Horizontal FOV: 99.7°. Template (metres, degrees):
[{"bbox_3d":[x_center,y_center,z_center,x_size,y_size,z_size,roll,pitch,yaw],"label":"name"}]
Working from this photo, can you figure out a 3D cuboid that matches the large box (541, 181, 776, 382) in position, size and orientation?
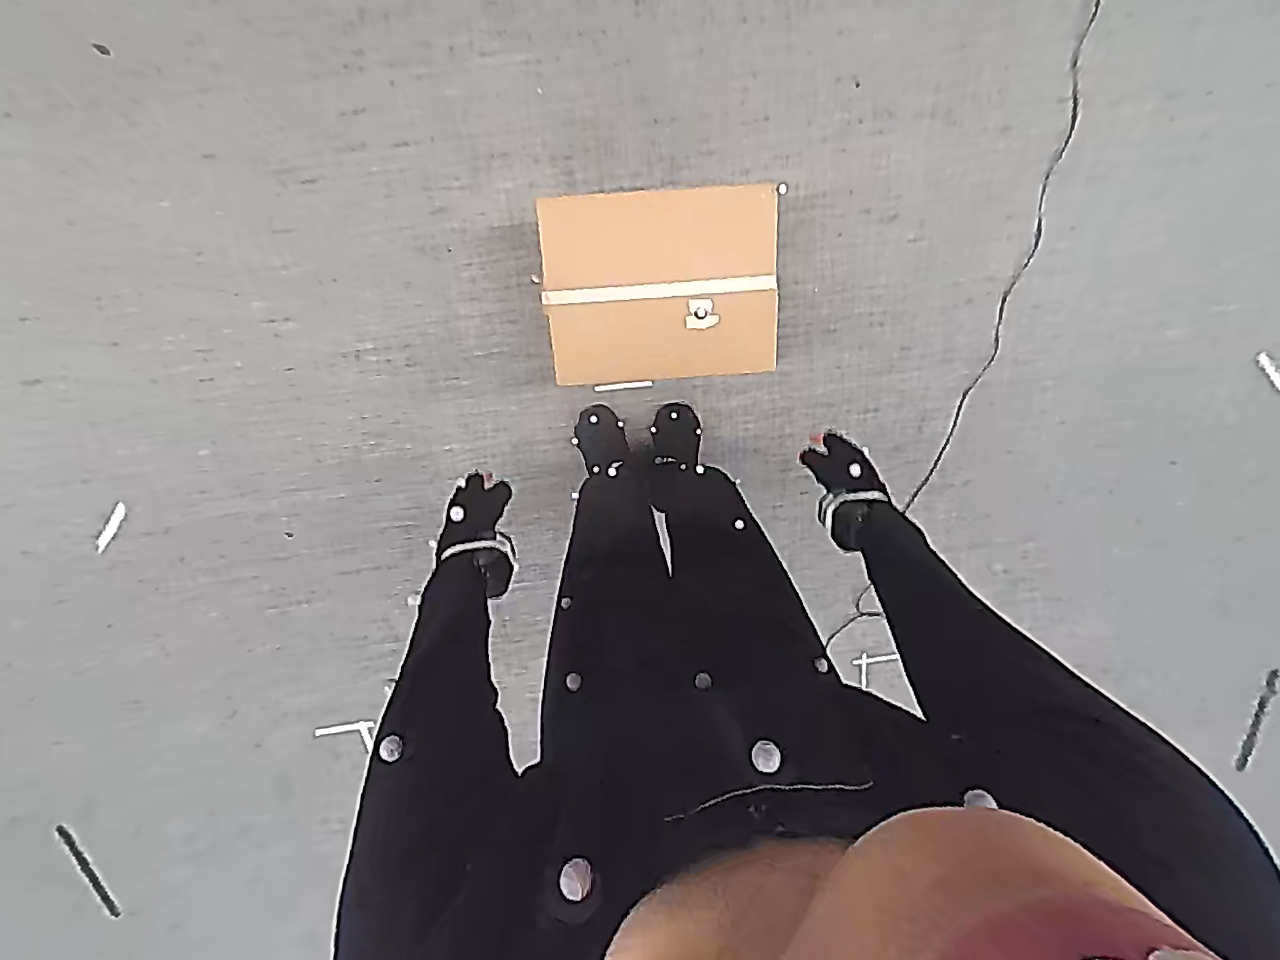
[{"bbox_3d":[0.035,-0.387,1.095,0.408,0.320,0.320,-4,108,-1],"label":"large box"}]
